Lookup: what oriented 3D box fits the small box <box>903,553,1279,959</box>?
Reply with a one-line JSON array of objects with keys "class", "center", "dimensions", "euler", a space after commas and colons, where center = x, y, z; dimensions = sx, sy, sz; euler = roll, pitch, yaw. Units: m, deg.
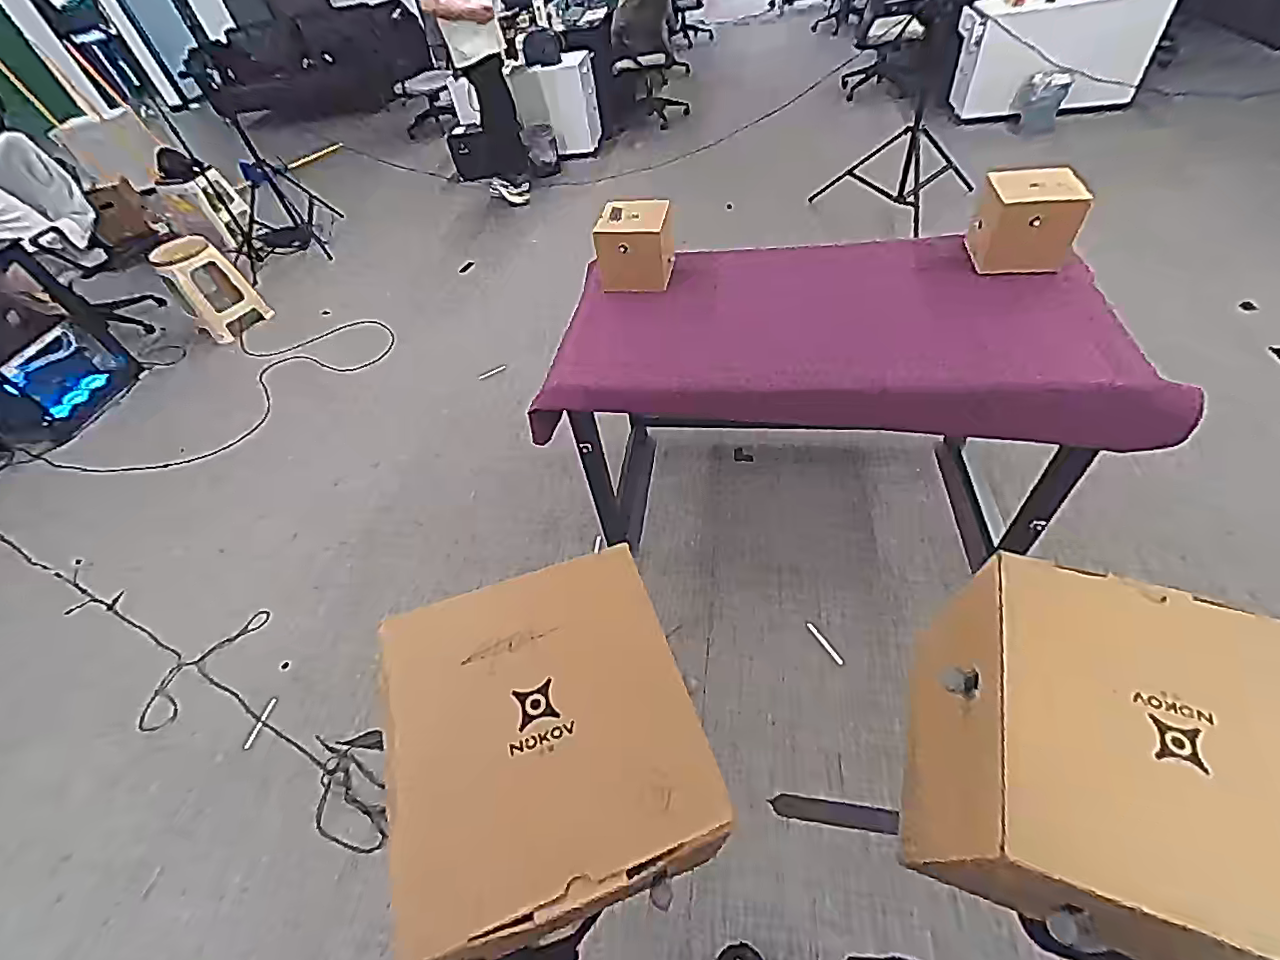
[{"class": "small box", "center": [0.281, 0.179, 0.345], "dimensions": [0.168, 0.176, 0.179], "euler": [14, 55, 16]}]

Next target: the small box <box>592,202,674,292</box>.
[{"class": "small box", "center": [-0.011, -0.619, 1.443], "dimensions": [0.179, 0.176, 0.168], "euler": [5, 52, 12]}]

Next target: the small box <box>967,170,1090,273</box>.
[{"class": "small box", "center": [0.897, -0.605, 1.275], "dimensions": [0.179, 0.176, 0.168], "euler": [3, 51, 11]}]

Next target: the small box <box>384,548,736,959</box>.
[{"class": "small box", "center": [-0.052, 0.180, 0.363], "dimensions": [0.168, 0.176, 0.179], "euler": [-17, 51, -12]}]
